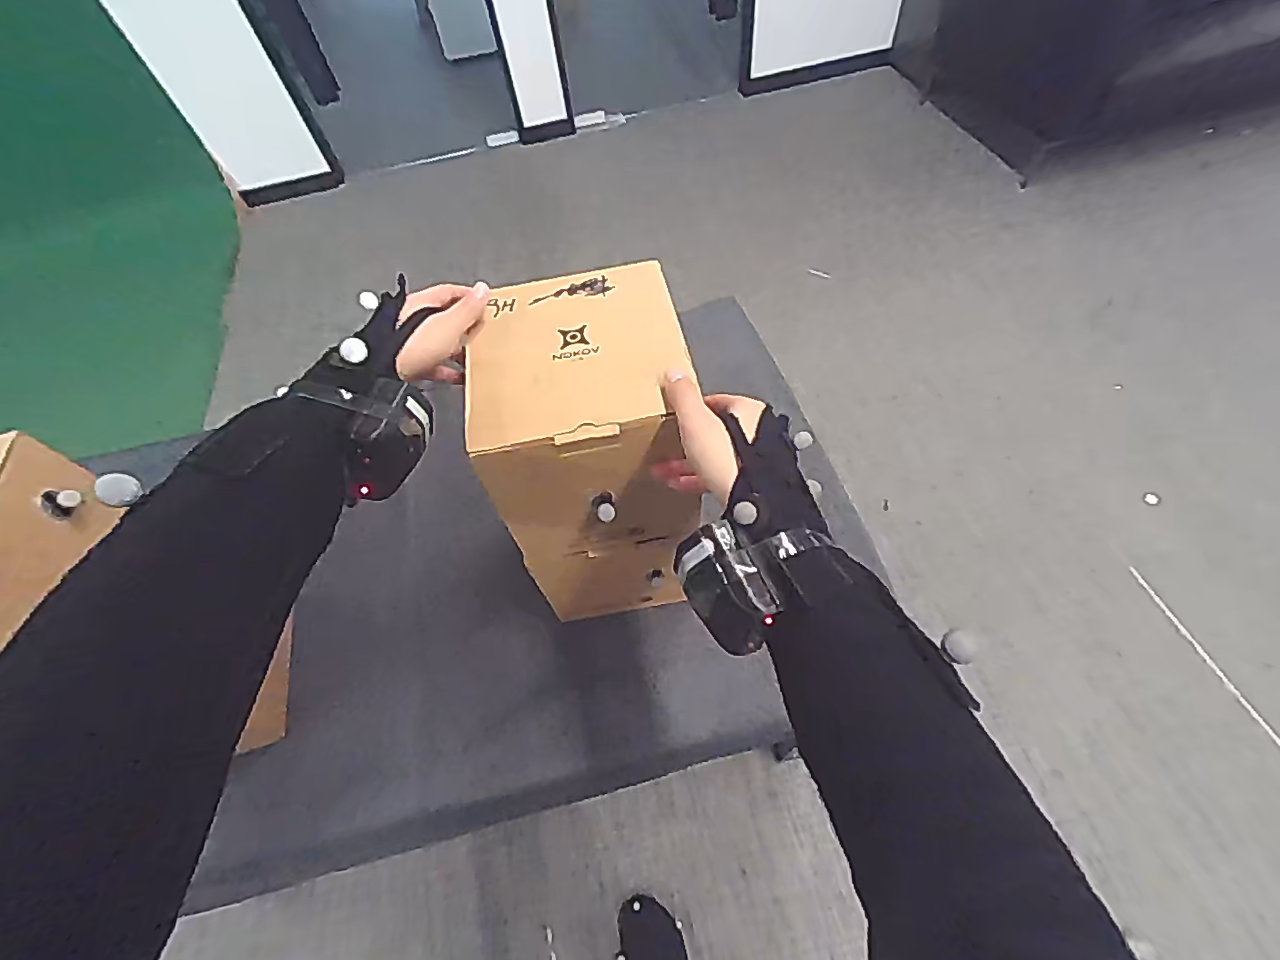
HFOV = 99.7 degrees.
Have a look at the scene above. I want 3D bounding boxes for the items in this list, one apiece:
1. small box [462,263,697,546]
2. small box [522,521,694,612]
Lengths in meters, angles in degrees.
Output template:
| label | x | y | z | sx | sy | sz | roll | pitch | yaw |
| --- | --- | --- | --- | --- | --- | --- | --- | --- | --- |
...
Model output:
| label | x | y | z | sx | sy | sz | roll | pitch | yaw |
| --- | --- | --- | --- | --- | --- | --- | --- | --- | --- |
| small box | -0.045 | -0.055 | 0.476 | 0.168 | 0.176 | 0.179 | -10 | 56 | -1 |
| small box | -0.034 | 0.037 | 0.611 | 0.168 | 0.176 | 0.179 | -10 | 55 | -1 |
